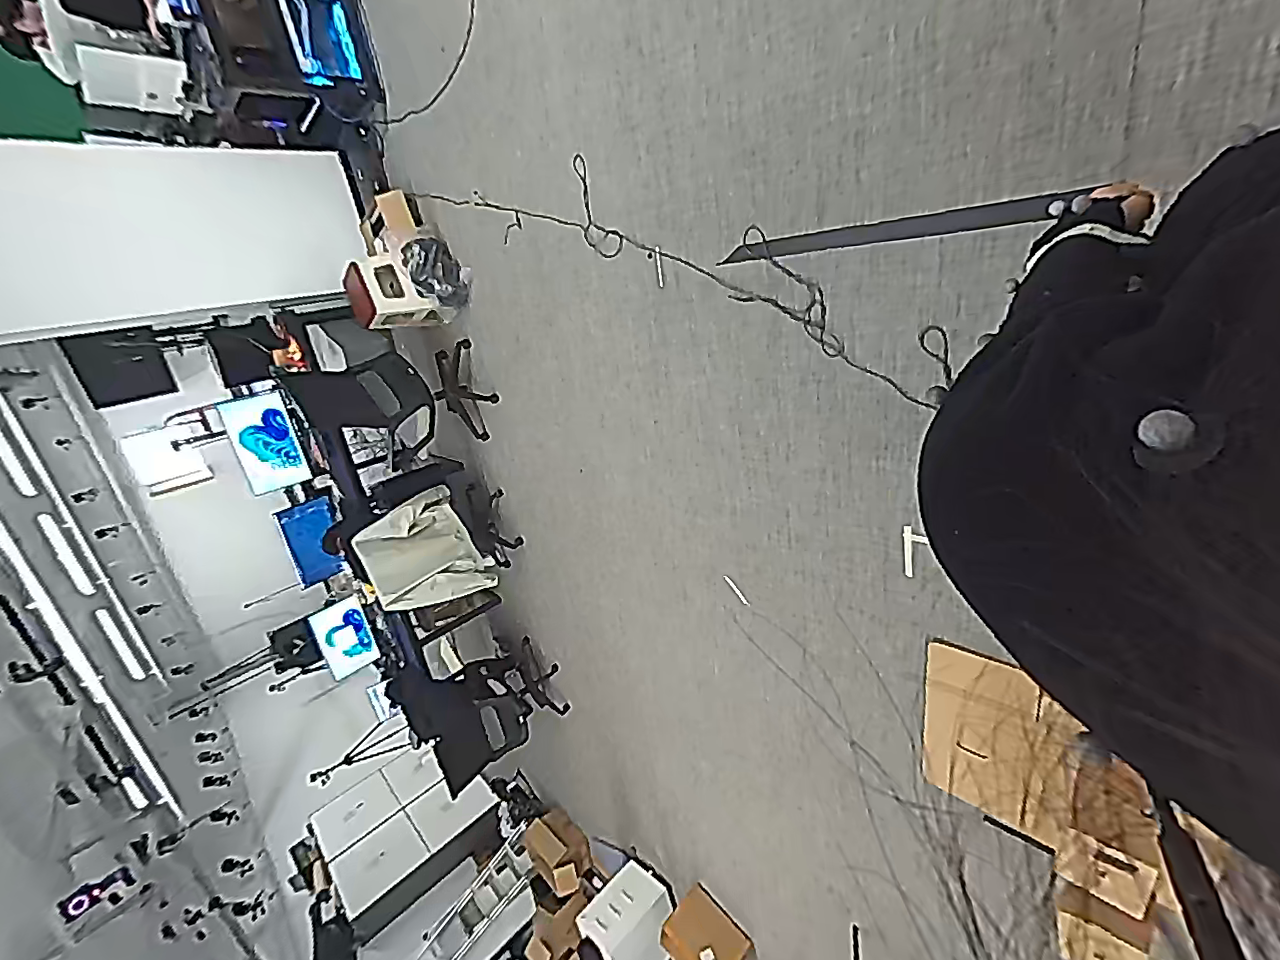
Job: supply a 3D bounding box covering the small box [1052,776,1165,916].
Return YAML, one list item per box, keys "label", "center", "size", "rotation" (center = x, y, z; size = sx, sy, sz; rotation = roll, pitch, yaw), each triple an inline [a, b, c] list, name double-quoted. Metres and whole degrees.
- label: "small box"
  center: [1.095, 0.842, 1.264]
  size: [0.168, 0.176, 0.179]
  rotation: [15, 122, 45]

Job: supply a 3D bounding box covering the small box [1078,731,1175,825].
- label: "small box"
  center: [1.213, 0.773, 1.356]
  size: [0.168, 0.176, 0.179]
  rotation: [11, 120, 47]

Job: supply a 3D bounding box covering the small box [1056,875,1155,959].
- label: "small box"
  center: [1.154, 1.096, 1.340]
  size: [0.168, 0.176, 0.179]
  rotation: [6, 115, 47]
